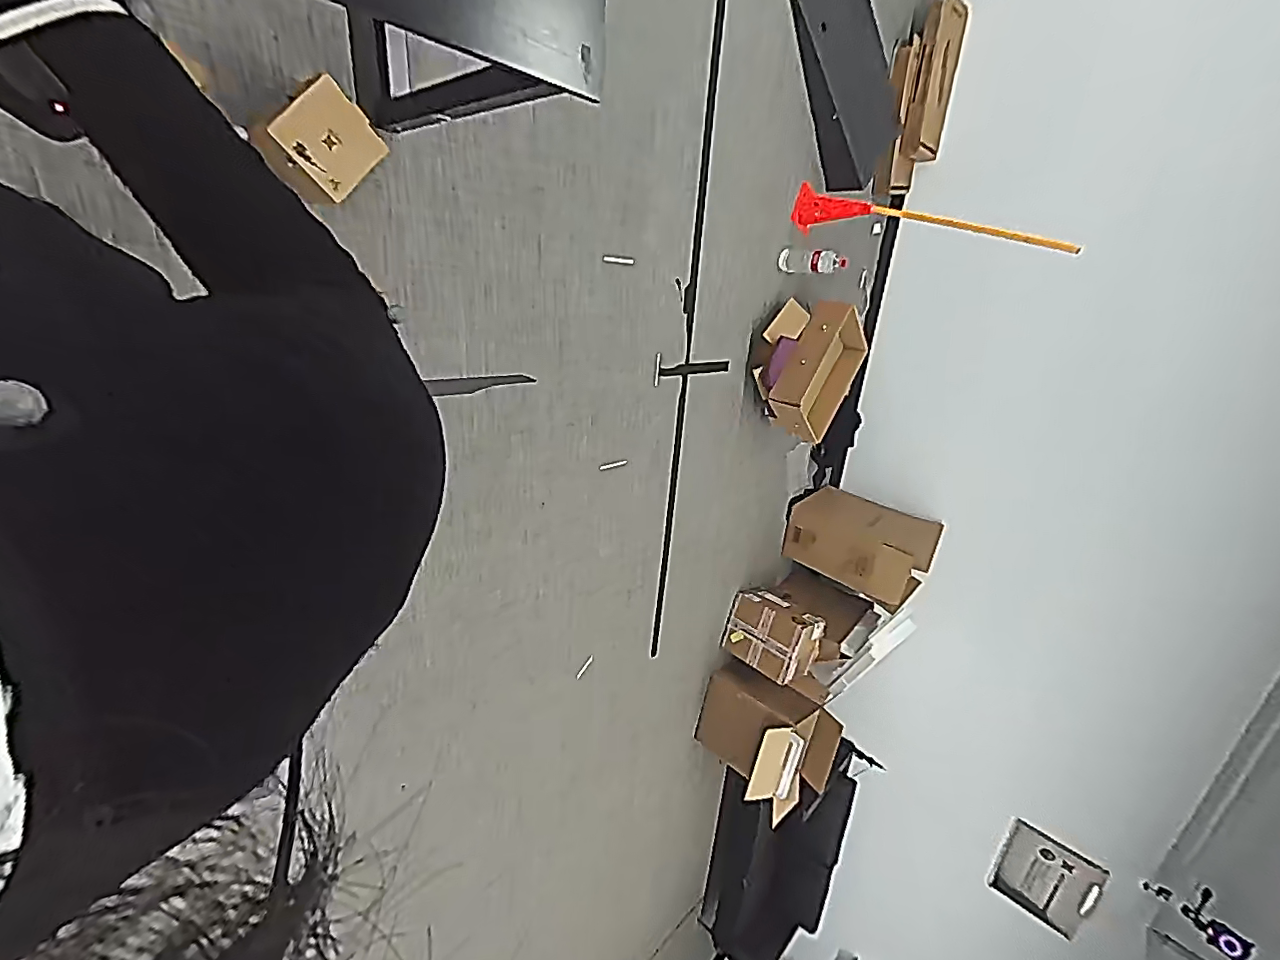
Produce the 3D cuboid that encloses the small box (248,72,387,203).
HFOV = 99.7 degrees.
[{"bbox_3d":[-0.691,-0.722,1.154,0.179,0.176,0.168,-57,140,-13],"label":"small box"}]

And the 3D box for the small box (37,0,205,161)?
[{"bbox_3d":[-0.898,-0.682,0.936,0.179,0.176,0.168,13,97,-50],"label":"small box"}]
